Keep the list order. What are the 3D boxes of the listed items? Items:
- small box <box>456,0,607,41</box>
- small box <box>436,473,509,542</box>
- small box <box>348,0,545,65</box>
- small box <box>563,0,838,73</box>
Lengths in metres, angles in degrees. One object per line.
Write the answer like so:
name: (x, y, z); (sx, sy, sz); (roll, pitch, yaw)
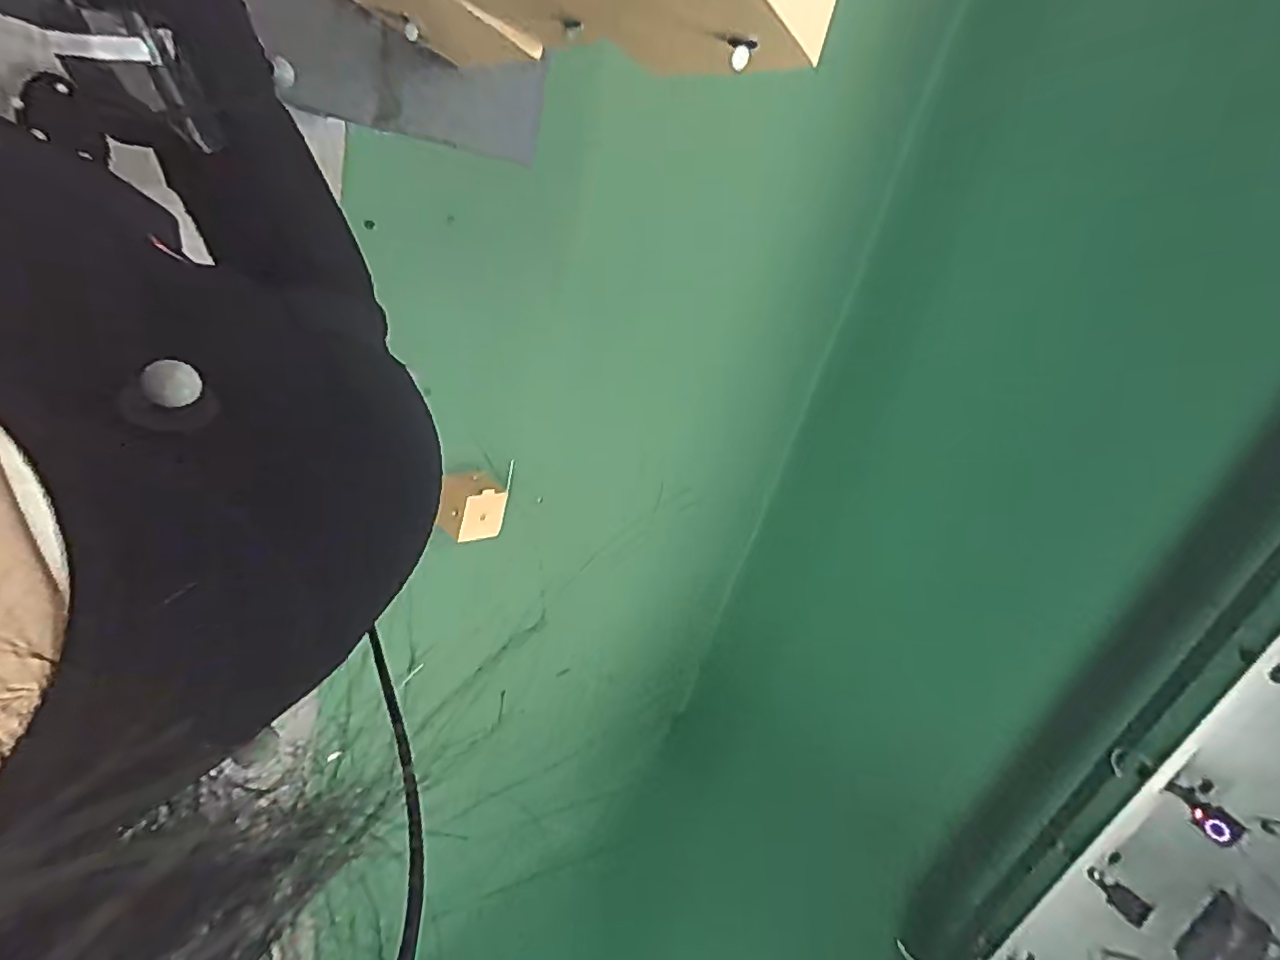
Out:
small box: (-0.083, -0.490, 0.440); (0.179, 0.176, 0.168); (-13, 122, -46)
small box: (-0.587, 0.092, 1.877); (0.168, 0.176, 0.179); (-6, 120, -50)
small box: (-0.194, -0.556, 0.539); (0.168, 0.176, 0.179); (-4, 116, -50)
small box: (0.041, -0.408, 0.364); (0.179, 0.176, 0.168); (-7, 117, -50)
